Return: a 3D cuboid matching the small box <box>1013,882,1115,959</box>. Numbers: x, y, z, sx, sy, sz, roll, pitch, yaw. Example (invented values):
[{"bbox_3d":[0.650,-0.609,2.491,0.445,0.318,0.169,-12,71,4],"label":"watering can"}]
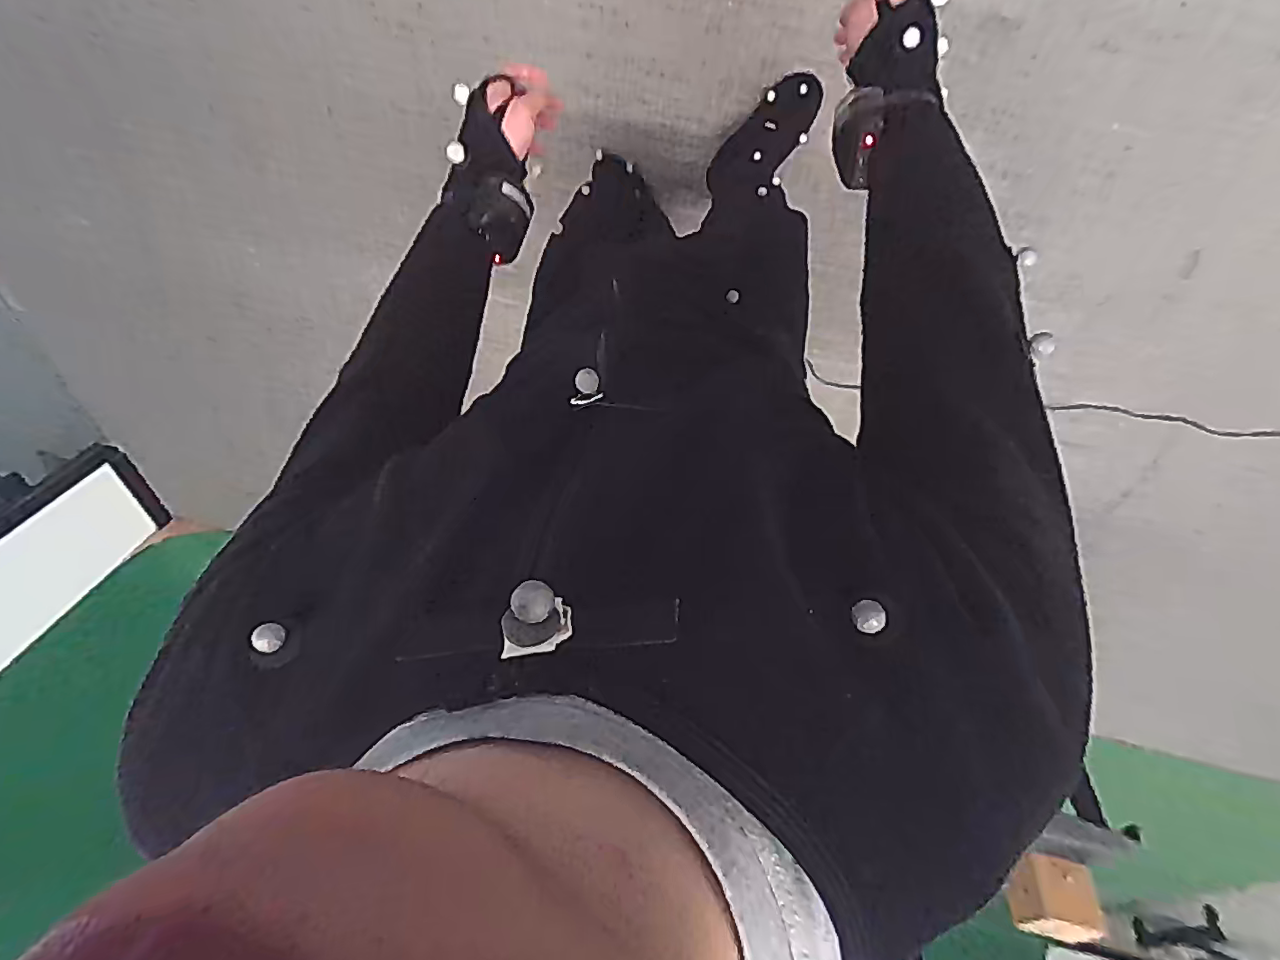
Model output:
[{"bbox_3d":[1.230,1.312,1.581,0.168,0.176,0.179,12,133,5],"label":"small box"}]
